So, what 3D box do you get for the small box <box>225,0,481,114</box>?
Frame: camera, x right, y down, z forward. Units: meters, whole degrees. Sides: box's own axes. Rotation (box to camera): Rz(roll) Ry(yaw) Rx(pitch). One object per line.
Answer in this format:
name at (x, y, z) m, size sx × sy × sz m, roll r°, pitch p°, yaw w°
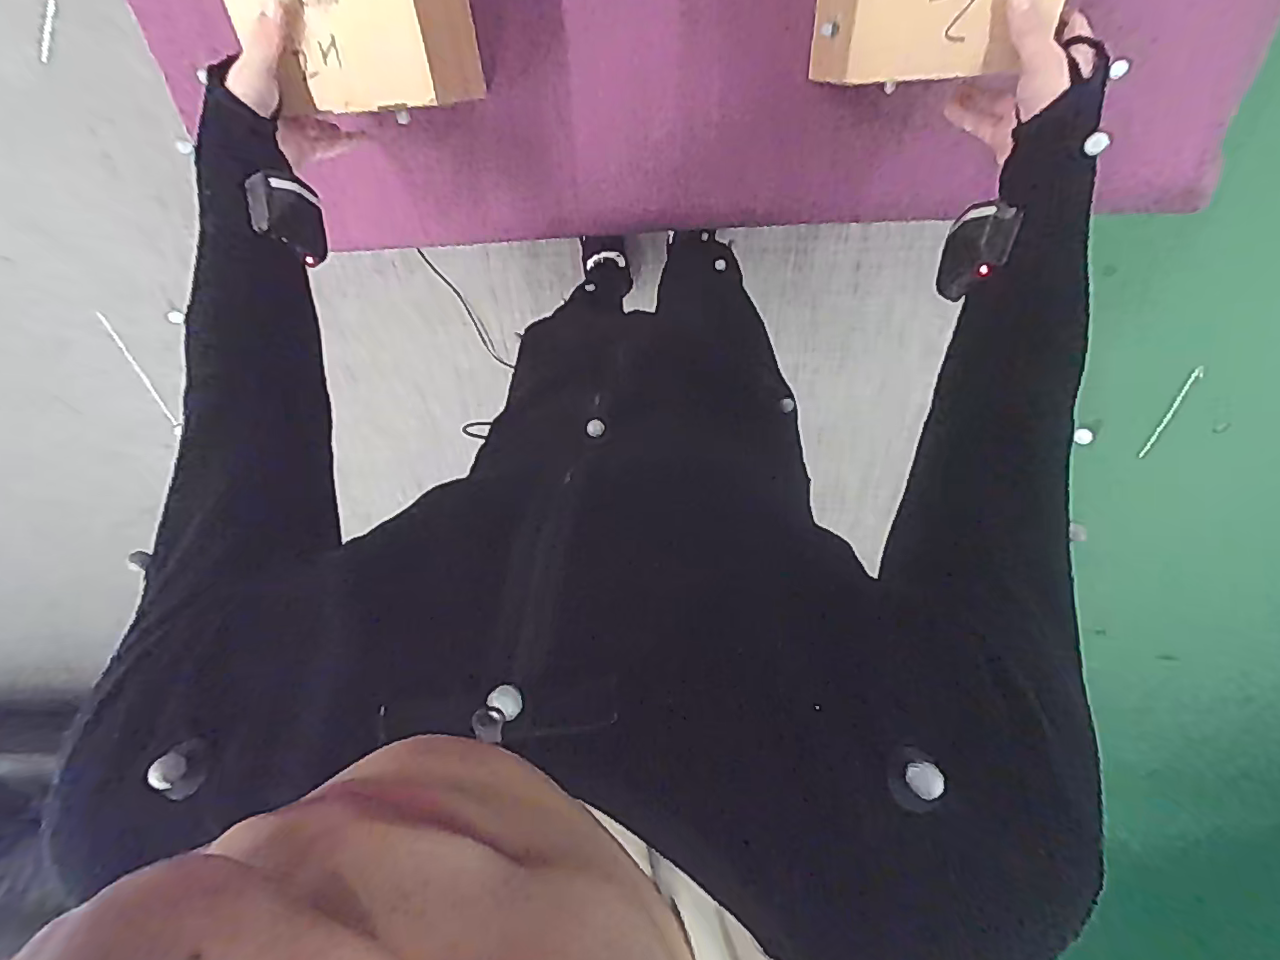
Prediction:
small box at (-0.270, -0.463, 0.517) m, size 0.168 × 0.176 × 0.179 m, roll -1°, pitch 127°, yaw 5°
